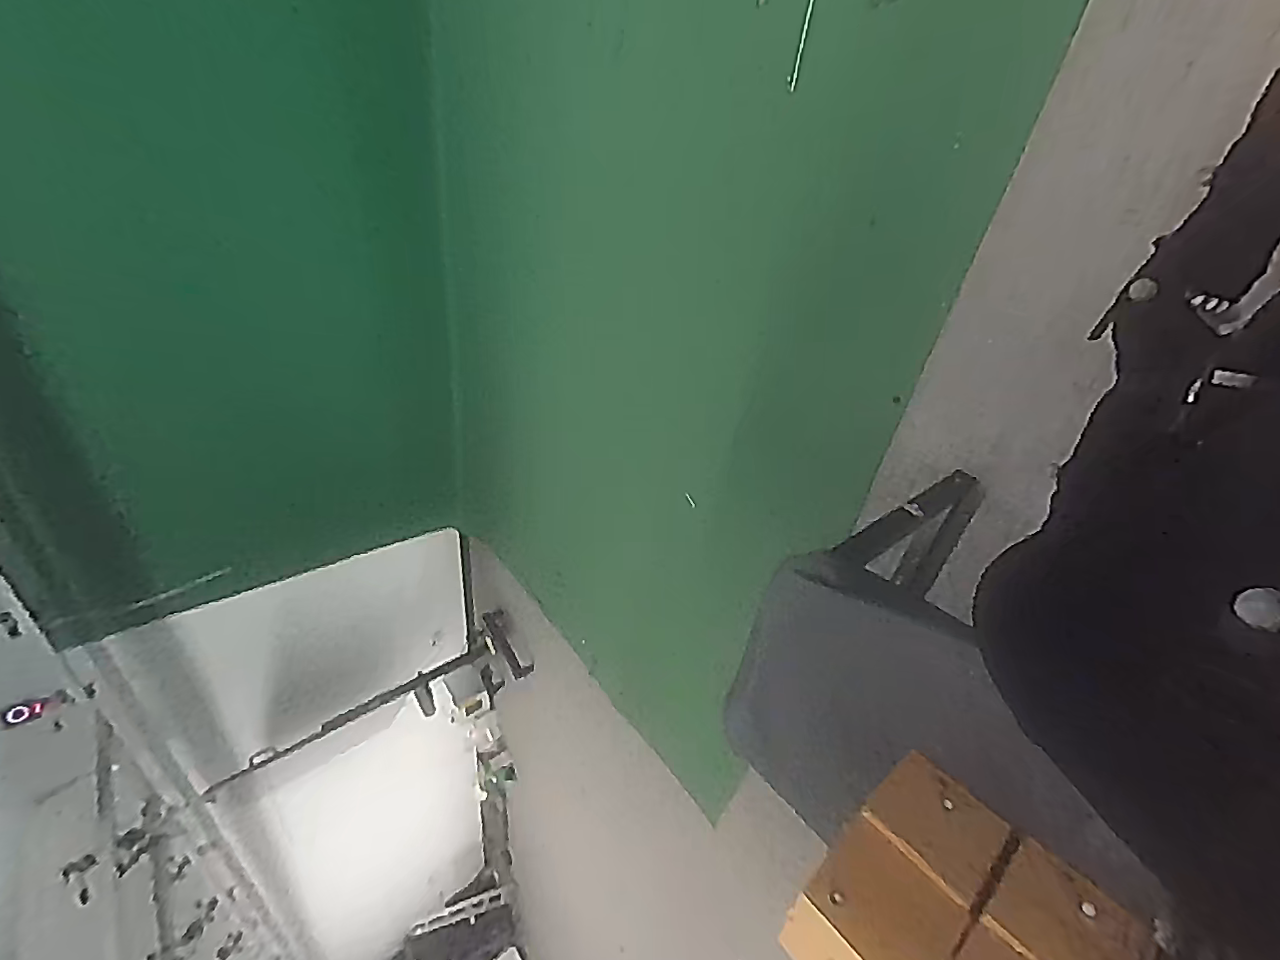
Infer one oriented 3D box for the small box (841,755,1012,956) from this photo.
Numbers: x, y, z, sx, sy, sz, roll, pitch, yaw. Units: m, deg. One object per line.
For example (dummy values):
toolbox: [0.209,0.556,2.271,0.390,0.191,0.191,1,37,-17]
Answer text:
small box: [0.463,0.597,0.877,0.168,0.176,0.179,34,130,37]
